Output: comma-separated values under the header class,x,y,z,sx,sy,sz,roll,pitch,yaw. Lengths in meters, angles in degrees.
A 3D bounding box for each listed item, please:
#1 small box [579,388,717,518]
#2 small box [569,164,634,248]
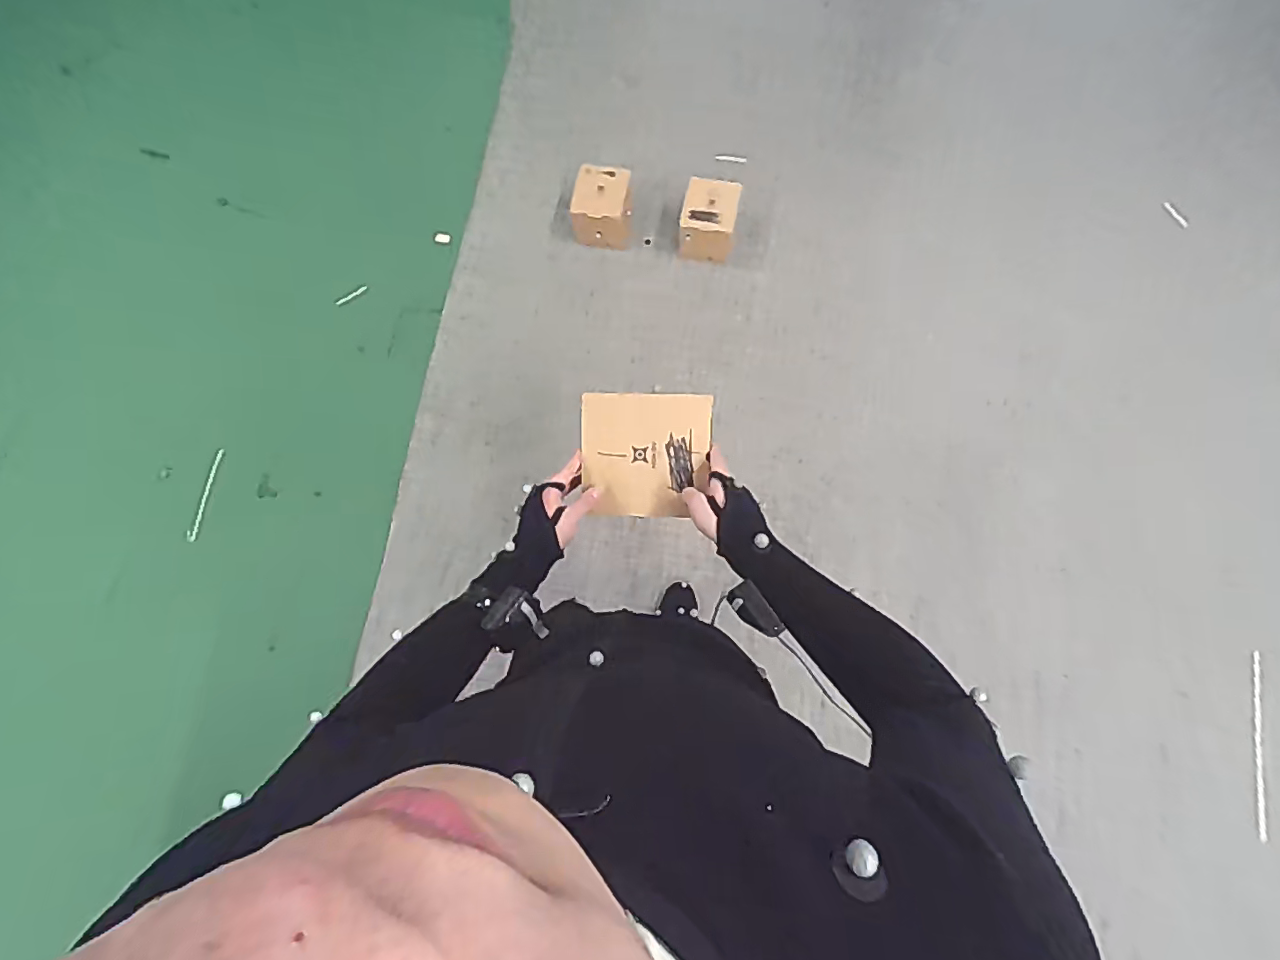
class,x,y,z,sx,sy,sz,roll,pitch,yaw
small box,0.012,-0.044,0.784,0.179,0.176,0.168,2,96,3
small box,-0.120,-0.885,1.762,0.168,0.176,0.179,11,81,6
